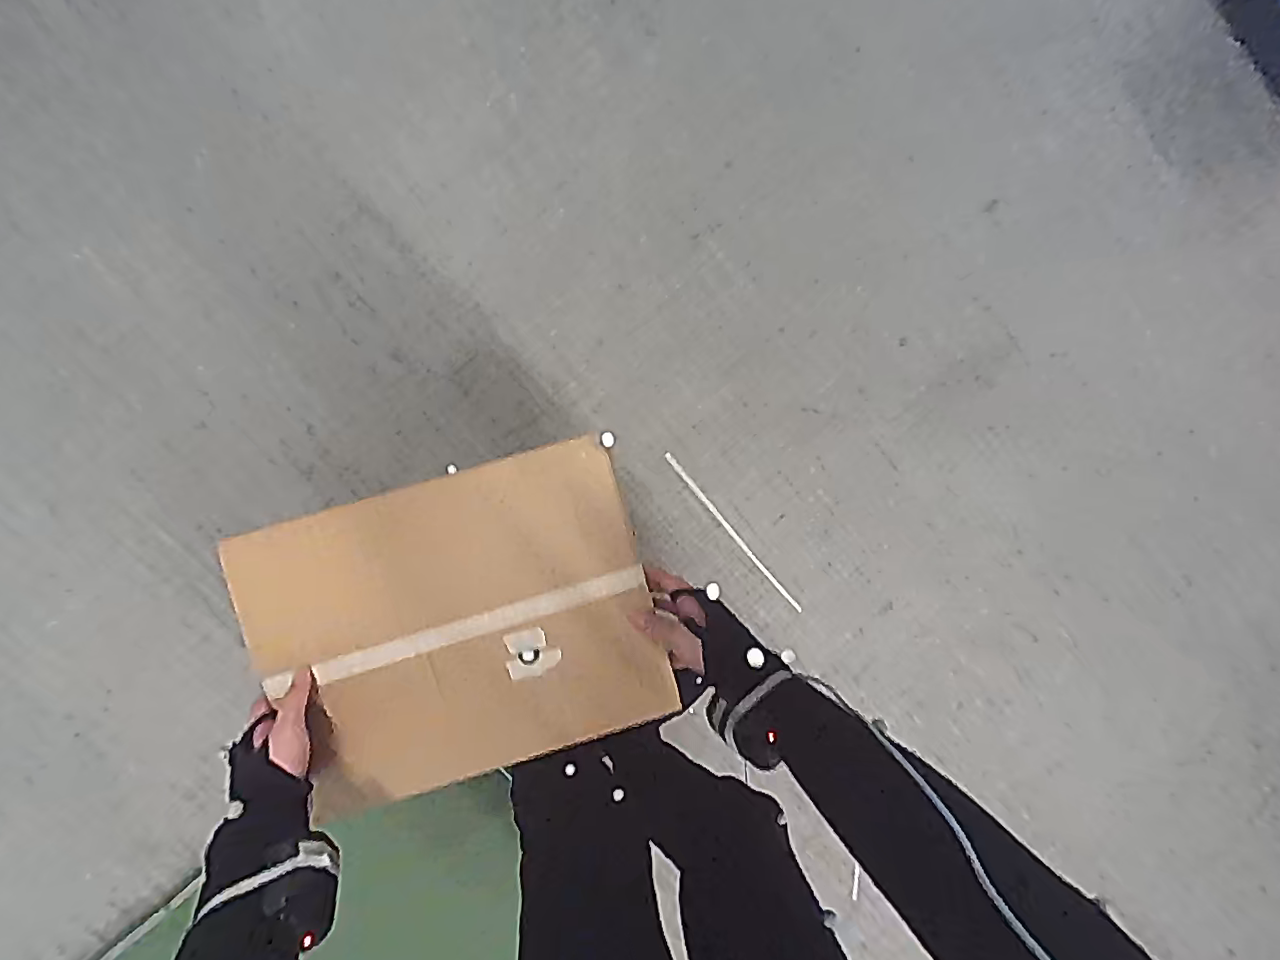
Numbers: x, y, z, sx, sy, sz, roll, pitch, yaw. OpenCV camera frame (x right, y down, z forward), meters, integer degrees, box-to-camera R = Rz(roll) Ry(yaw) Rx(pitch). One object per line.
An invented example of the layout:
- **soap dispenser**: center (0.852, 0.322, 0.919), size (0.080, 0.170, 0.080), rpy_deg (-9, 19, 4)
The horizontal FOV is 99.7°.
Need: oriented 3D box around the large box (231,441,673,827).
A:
- **large box**: center (-0.206, 0.161, 0.726), size (0.408, 0.320, 0.320), rpy_deg (-18, 93, -4)
